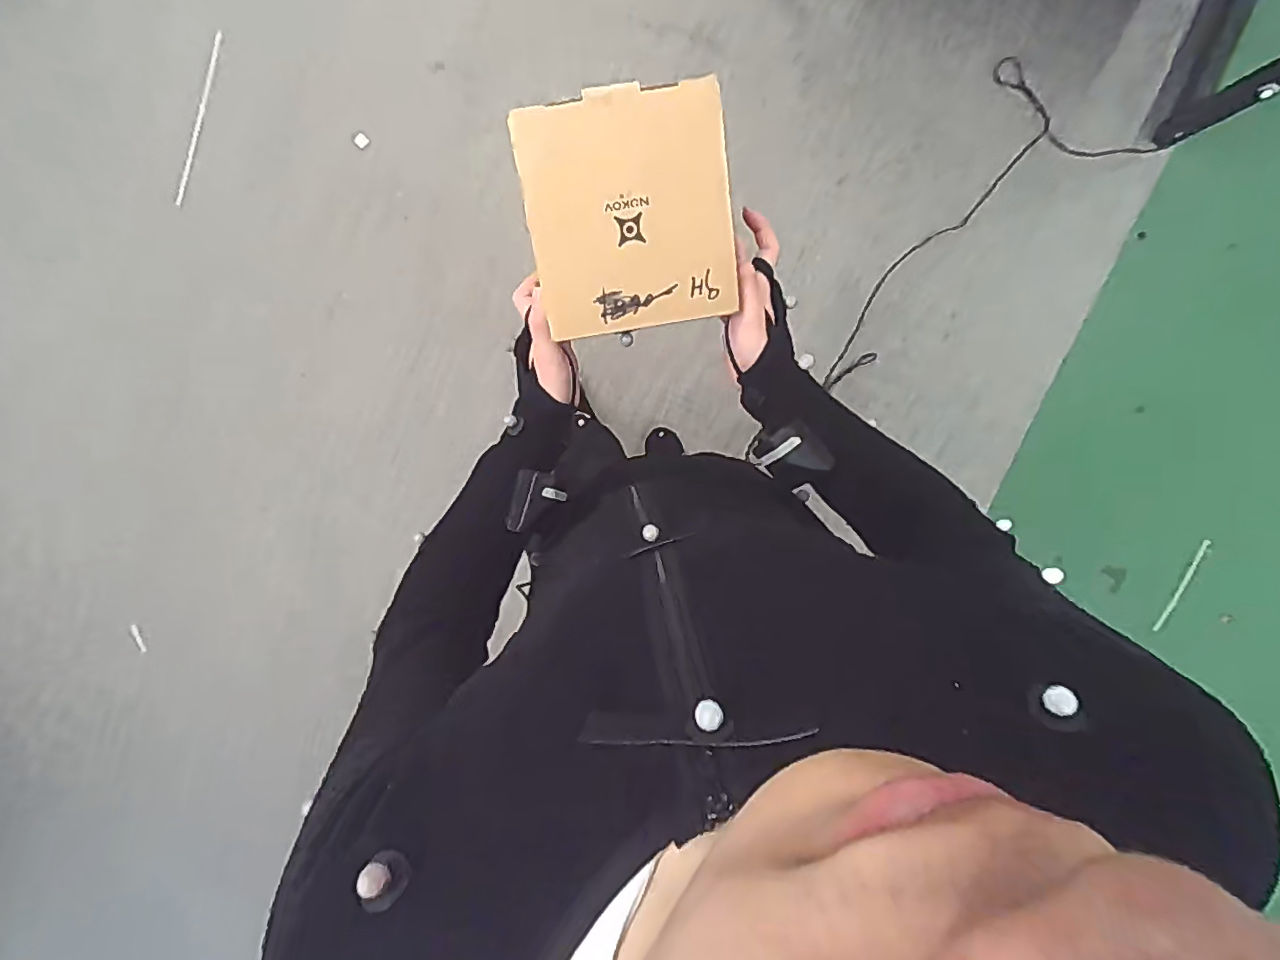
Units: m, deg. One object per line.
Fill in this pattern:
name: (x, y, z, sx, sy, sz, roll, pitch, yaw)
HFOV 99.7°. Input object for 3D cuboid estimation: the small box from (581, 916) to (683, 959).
small box: (-0.027, 0.913, 0.922, 0.168, 0.176, 0.179, 28, 98, -3)

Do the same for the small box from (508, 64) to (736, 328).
small box: (-0.012, -0.245, 0.509, 0.168, 0.176, 0.179, -8, 108, 2)

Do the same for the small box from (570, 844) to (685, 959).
small box: (-0.023, 0.891, 1.083, 0.168, 0.176, 0.179, 29, 98, -3)
